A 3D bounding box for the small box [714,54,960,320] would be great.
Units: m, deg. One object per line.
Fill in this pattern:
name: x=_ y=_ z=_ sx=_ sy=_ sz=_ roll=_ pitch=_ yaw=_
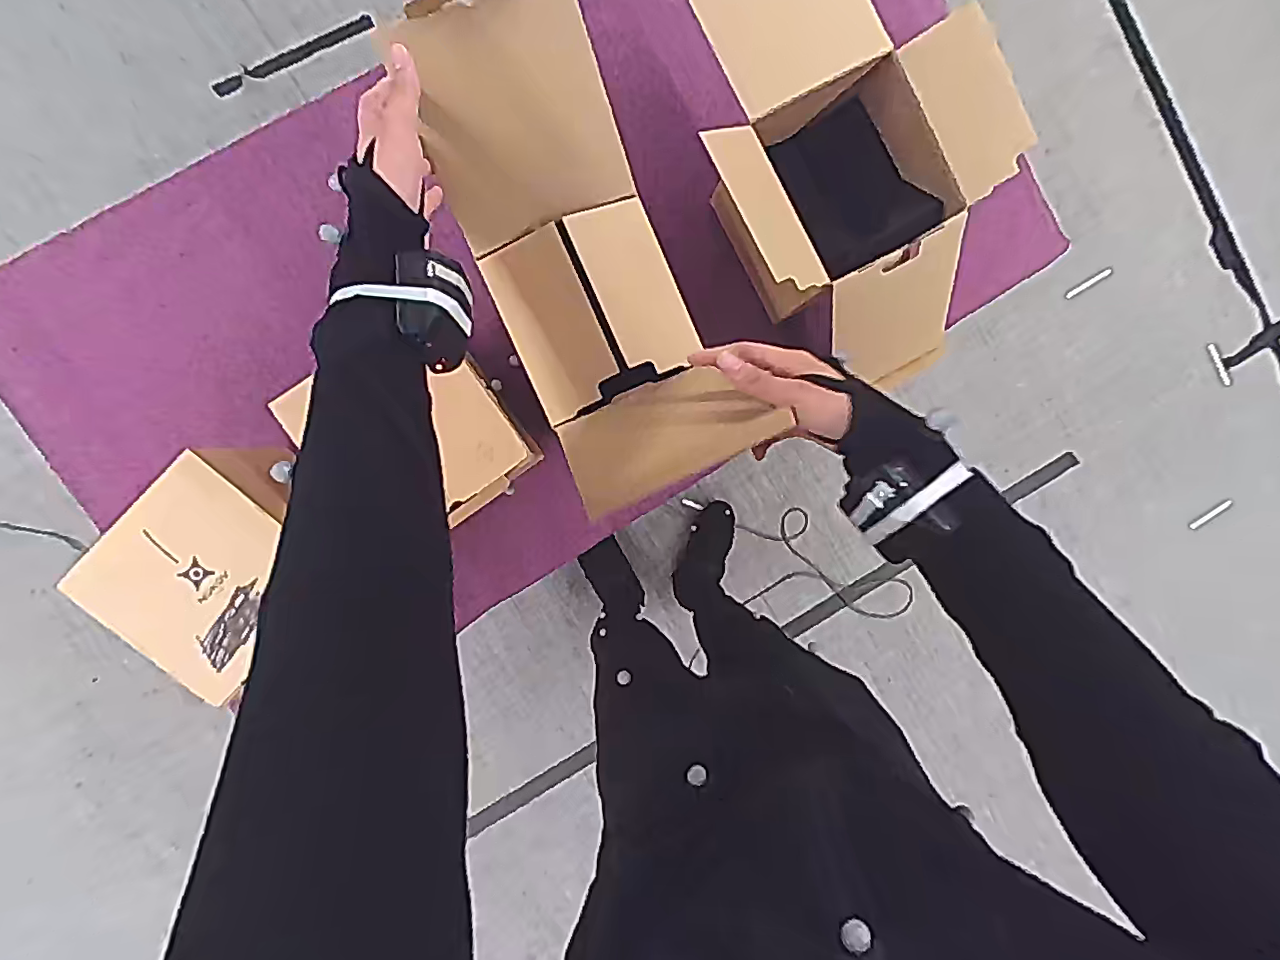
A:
small box: x=0.203 y=-0.307 z=0.608 sx=0.168 sy=0.176 sz=0.179 roll=-29 pitch=96 yaw=-3
